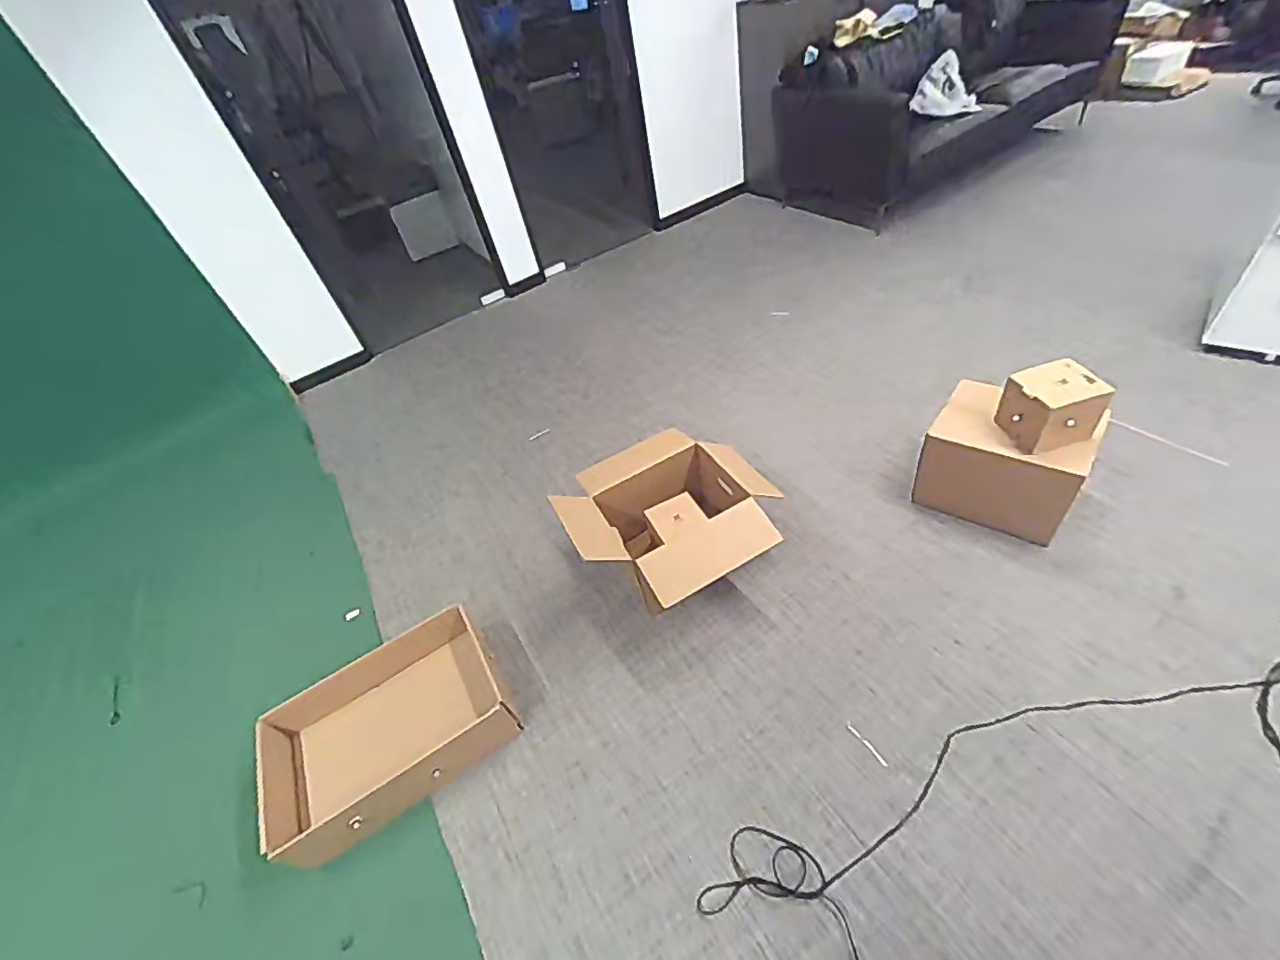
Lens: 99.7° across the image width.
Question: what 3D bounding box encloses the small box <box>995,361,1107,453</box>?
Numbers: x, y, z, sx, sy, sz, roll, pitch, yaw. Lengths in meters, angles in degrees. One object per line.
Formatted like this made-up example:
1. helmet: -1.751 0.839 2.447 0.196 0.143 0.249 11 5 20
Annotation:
1. small box: 1.133 -0.201 1.512 0.179 0.176 0.168 -17 45 1
